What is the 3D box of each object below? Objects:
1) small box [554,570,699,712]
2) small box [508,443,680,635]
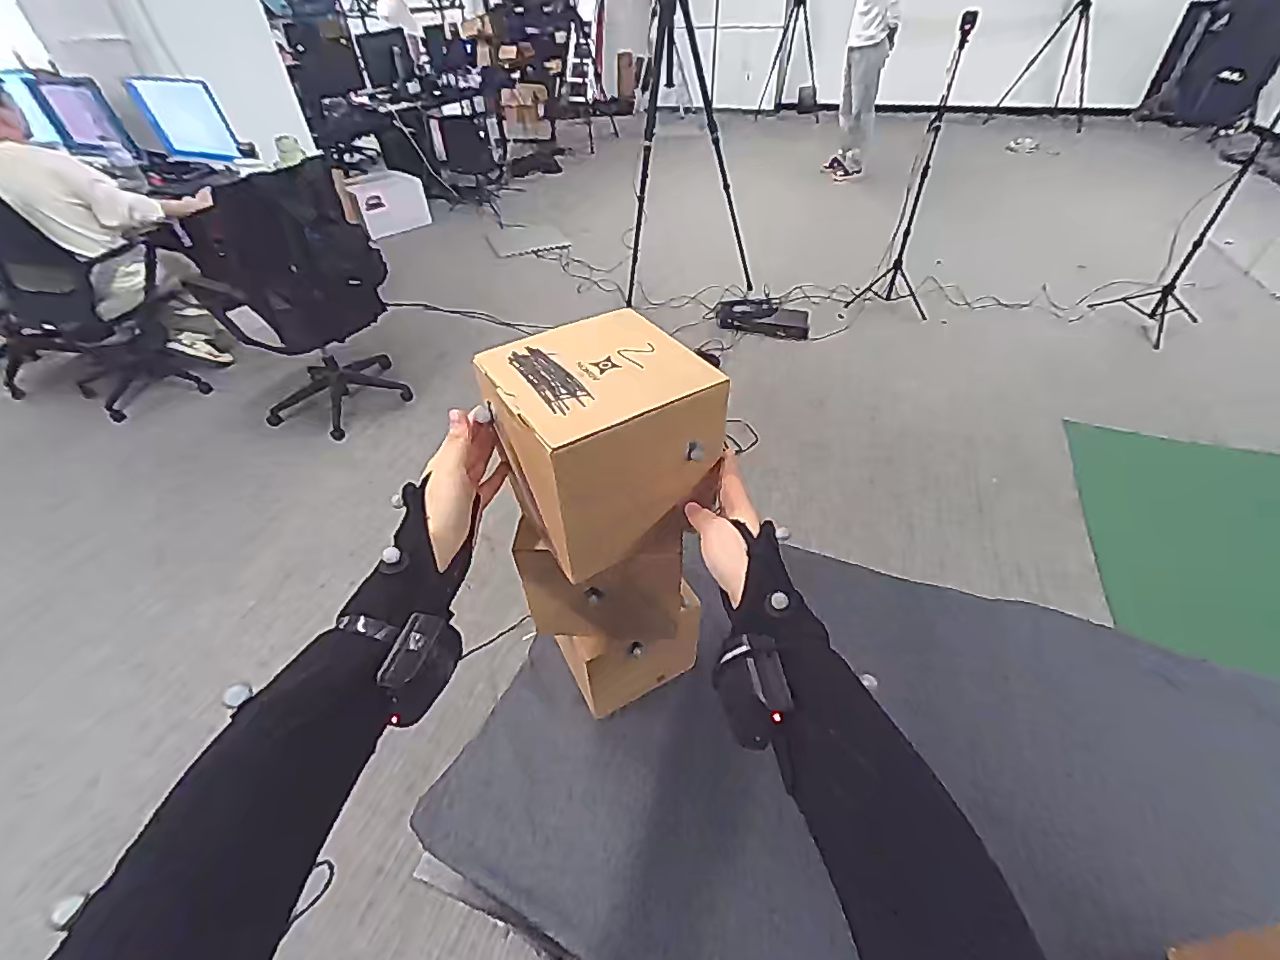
[{"bbox_3d":[-0.034,0.191,0.772,0.168,0.176,0.179,-22,47,-19],"label":"small box"},{"bbox_3d":[-0.042,0.073,0.656,0.179,0.176,0.168,0,44,4],"label":"small box"}]
